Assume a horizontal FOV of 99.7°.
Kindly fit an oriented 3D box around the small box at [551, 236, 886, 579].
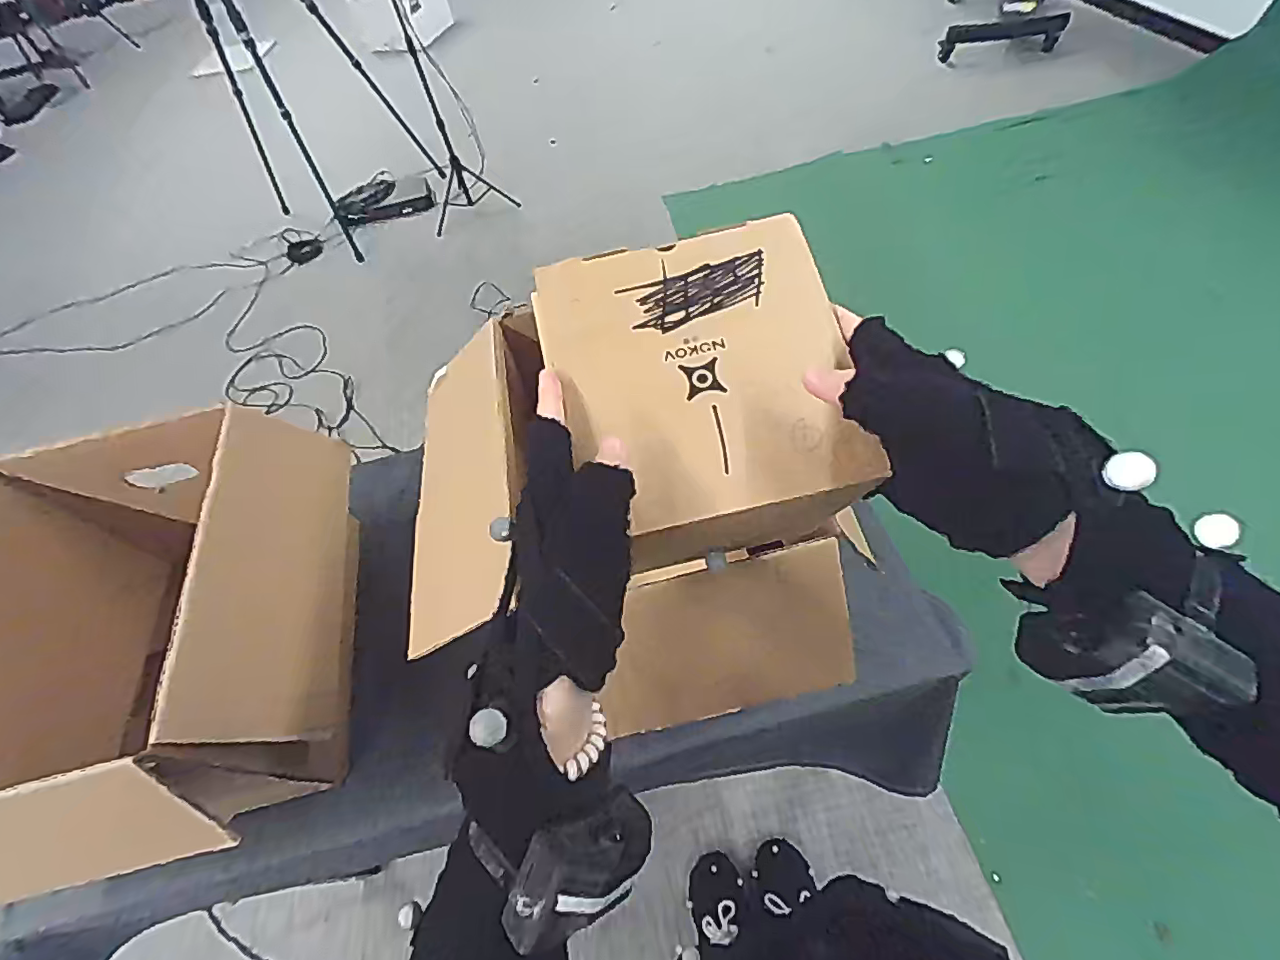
[{"bbox_3d":[0.040,-0.036,0.390,0.168,0.176,0.179,-11,74,-2],"label":"small box"}]
